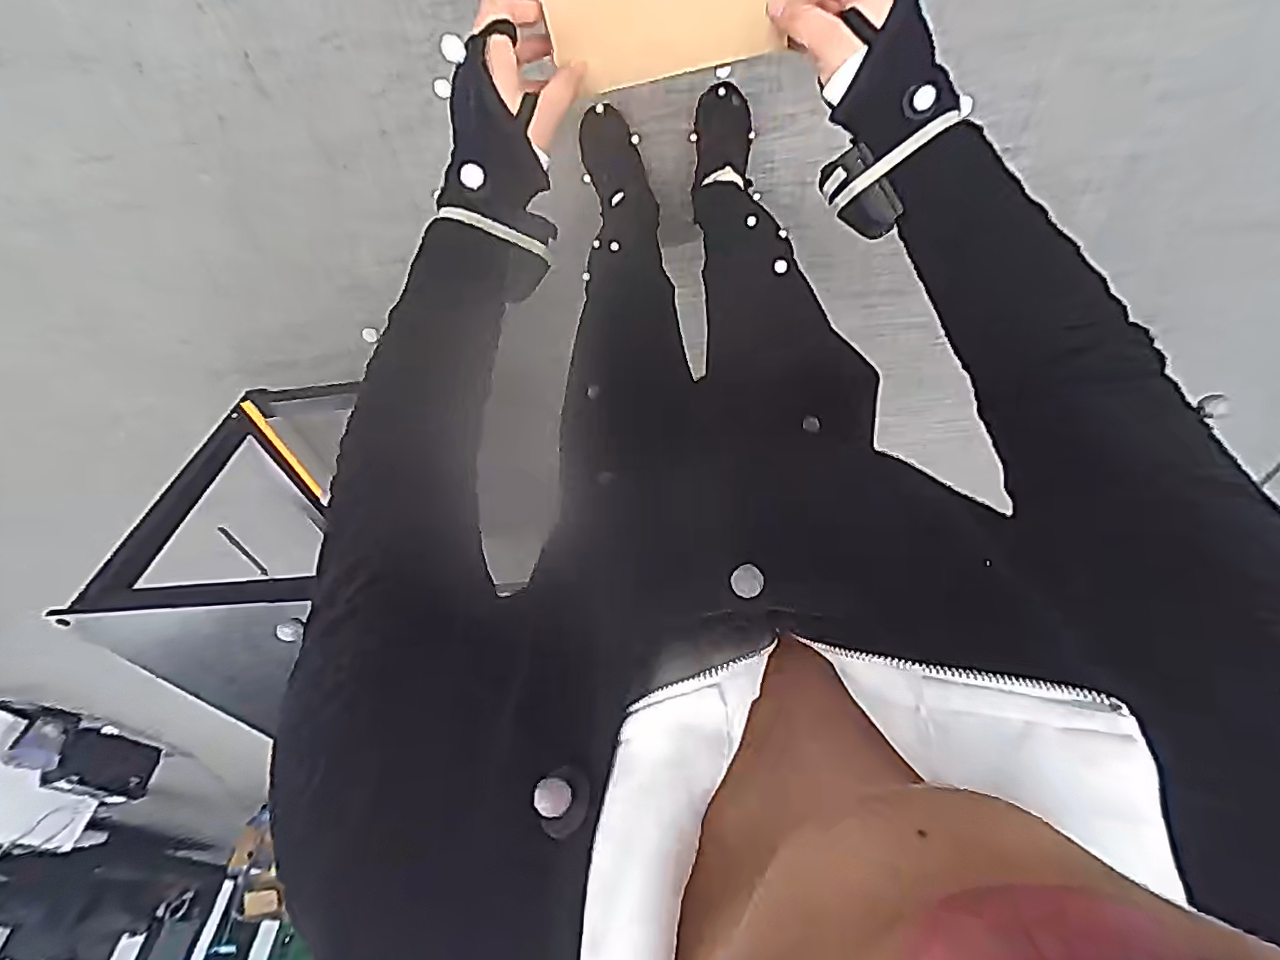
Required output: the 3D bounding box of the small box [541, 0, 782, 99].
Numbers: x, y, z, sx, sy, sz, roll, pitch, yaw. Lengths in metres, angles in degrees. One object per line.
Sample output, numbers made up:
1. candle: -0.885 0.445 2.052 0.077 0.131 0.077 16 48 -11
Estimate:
1. small box: 0.009 -0.432 0.420 0.179 0.176 0.168 -7 138 8
